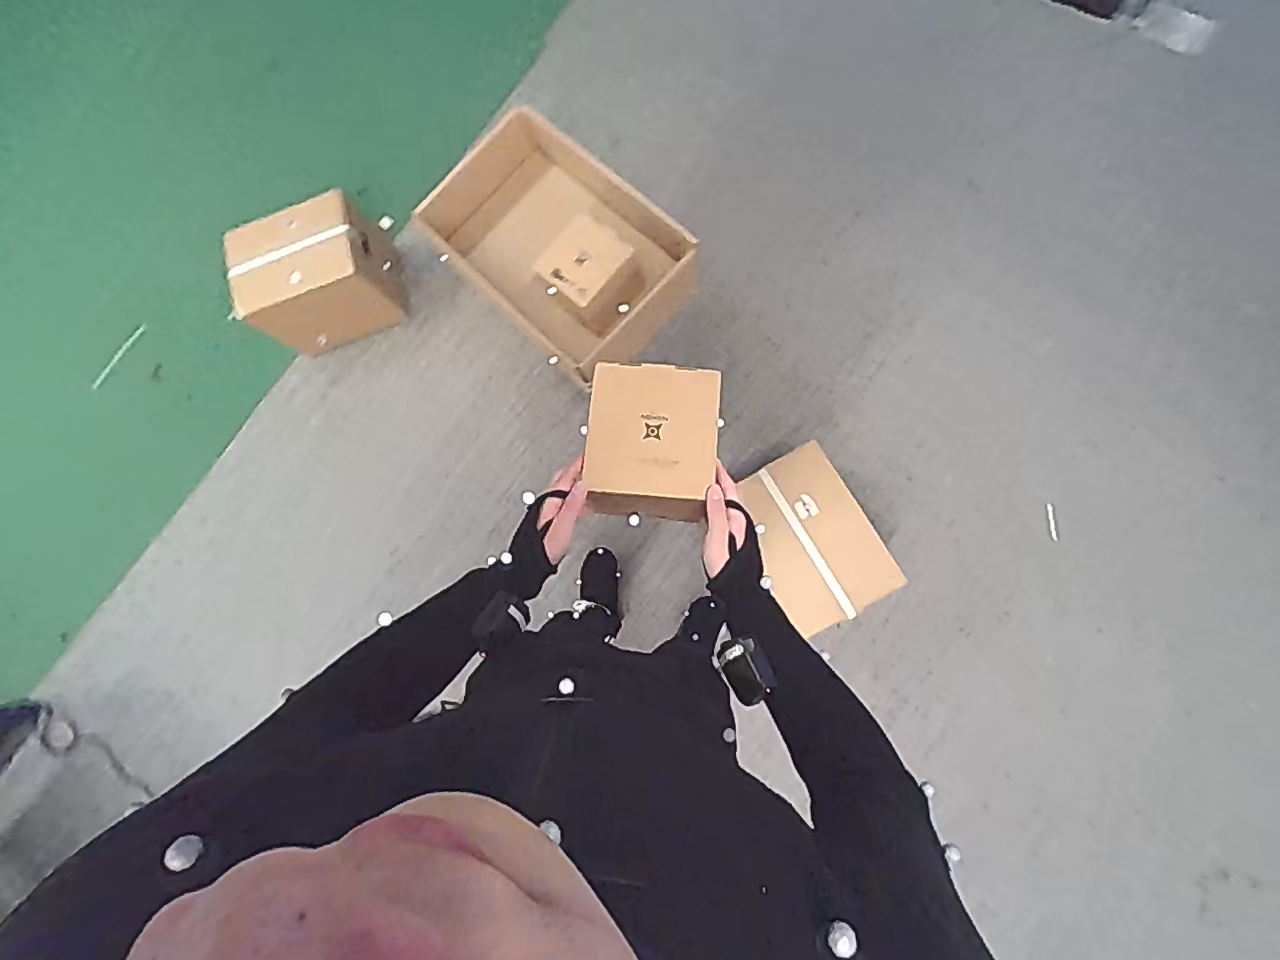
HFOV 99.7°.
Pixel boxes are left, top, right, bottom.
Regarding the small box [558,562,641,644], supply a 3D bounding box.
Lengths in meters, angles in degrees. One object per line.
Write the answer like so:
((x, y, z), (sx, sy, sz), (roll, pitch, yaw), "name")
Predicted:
((-0.120, 0.357, 1.574), (0.179, 0.176, 0.168), (37, 84, 17), "small box")

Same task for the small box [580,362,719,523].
((0.013, -0.044, 0.758), (0.168, 0.176, 0.179), (4, 76, 1), "small box")

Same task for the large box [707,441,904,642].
((0.416, 0.168, 1.453), (0.320, 0.320, 0.408), (-30, 77, 2), "large box")
